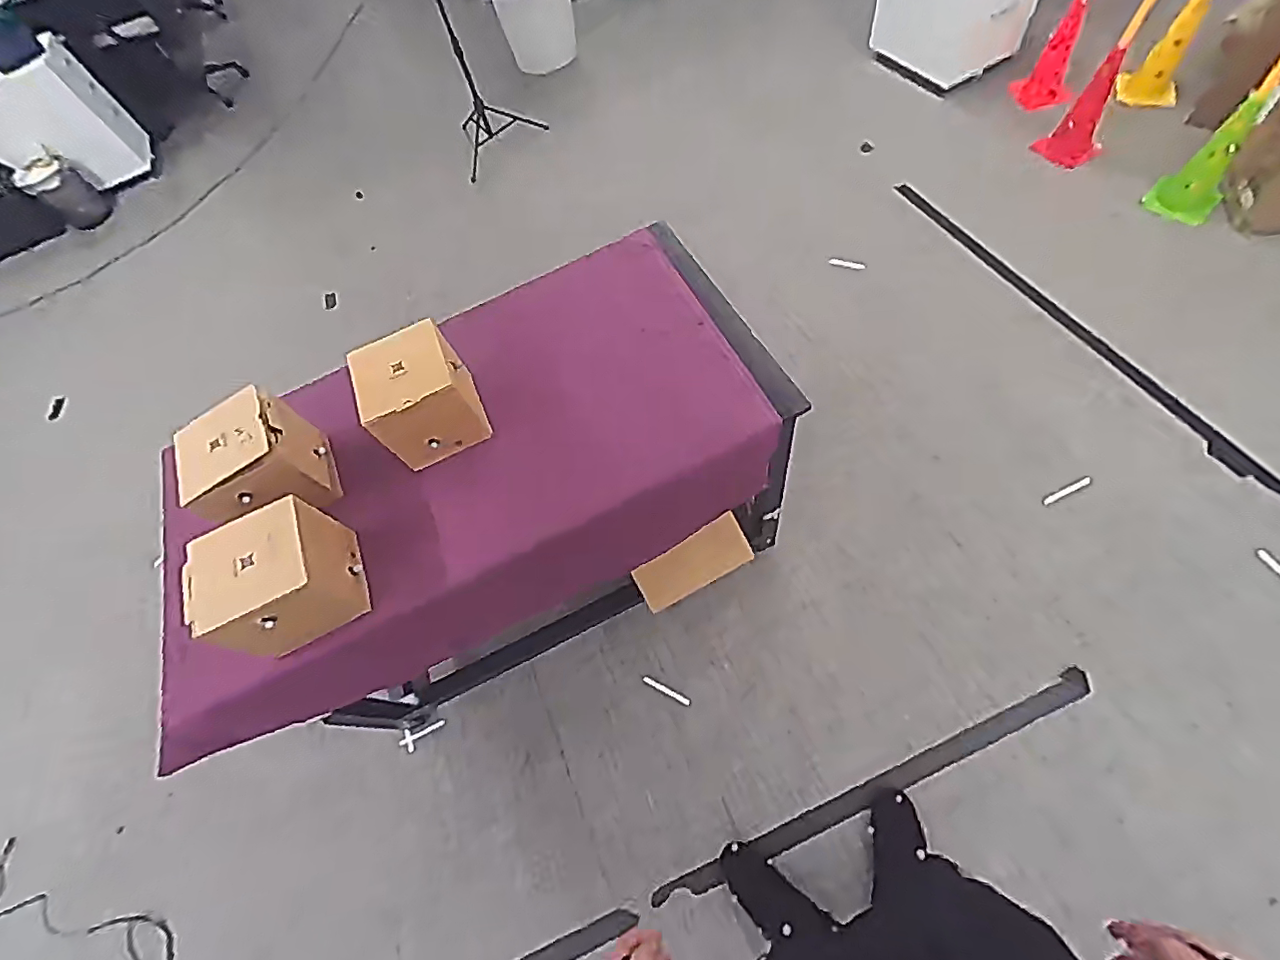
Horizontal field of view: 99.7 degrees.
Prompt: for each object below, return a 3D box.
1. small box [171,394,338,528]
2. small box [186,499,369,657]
[{"bbox_3d":[-0.692,-0.016,0.981,0.179,0.176,0.168,-29,63,-6],"label":"small box"},{"bbox_3d":[-0.576,0.165,0.870,0.179,0.176,0.168,-27,62,-5],"label":"small box"}]
